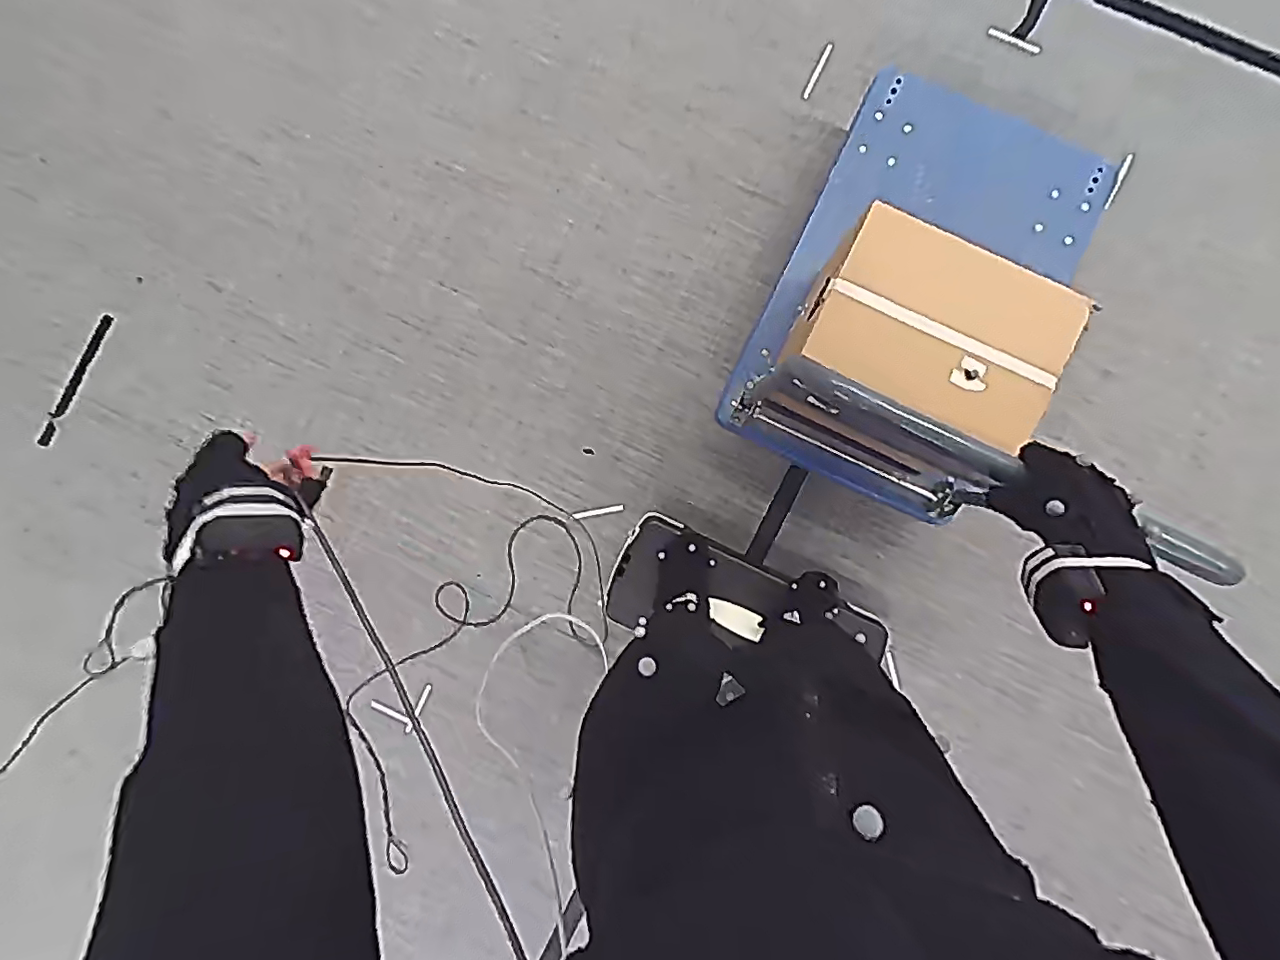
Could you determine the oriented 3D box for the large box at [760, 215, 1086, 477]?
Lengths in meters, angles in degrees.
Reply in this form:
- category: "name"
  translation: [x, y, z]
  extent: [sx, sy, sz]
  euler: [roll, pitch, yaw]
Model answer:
- category: "large box"
  translation: [0.499, -0.226, 1.047]
  extent: [0.408, 0.320, 0.320]
  euler: [25, 91, 1]
